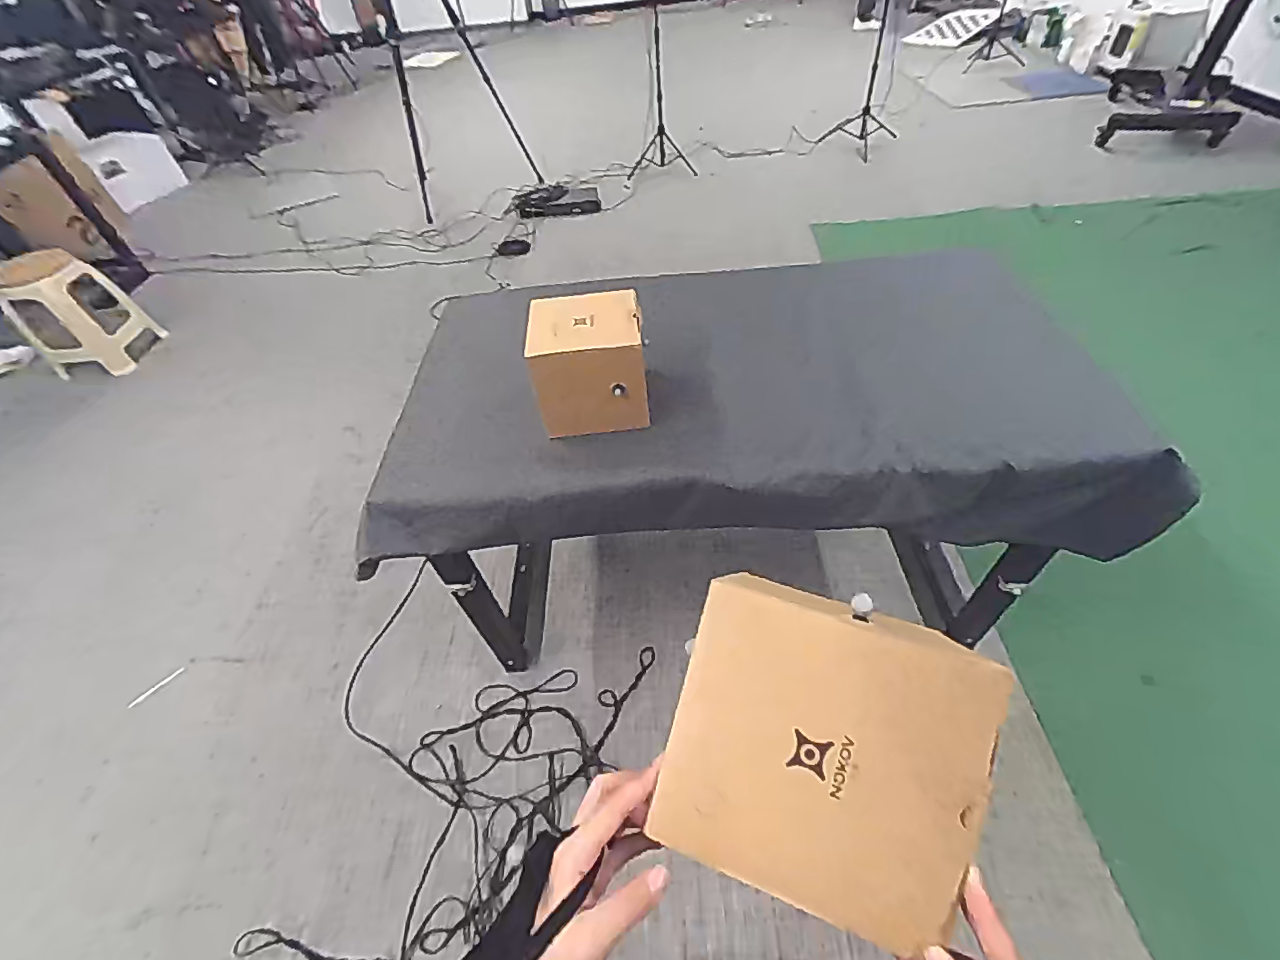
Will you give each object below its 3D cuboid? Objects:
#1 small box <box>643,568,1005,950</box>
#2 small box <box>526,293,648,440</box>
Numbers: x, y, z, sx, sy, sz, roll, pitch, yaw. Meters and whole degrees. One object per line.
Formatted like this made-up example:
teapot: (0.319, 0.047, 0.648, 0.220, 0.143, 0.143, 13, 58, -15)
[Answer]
small box: (0.124, 0.169, 0.397, 0.179, 0.176, 0.168, 15, 85, 17)
small box: (-0.080, -0.187, 0.905, 0.179, 0.176, 0.168, -7, 47, 1)
